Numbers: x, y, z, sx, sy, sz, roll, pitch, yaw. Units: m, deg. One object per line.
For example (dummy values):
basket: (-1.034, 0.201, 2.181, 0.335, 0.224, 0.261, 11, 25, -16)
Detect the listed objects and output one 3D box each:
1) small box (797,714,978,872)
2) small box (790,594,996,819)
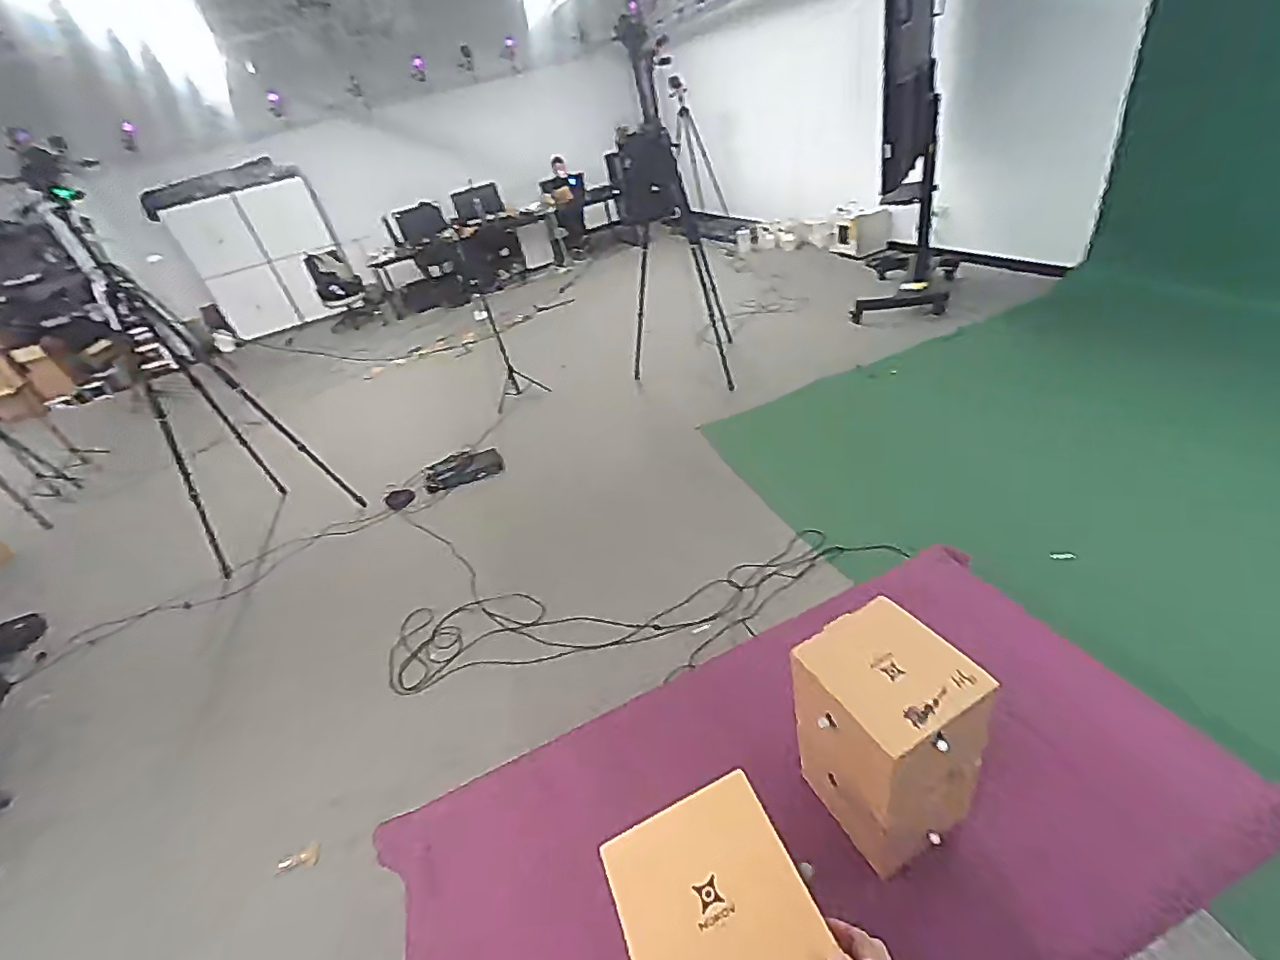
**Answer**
small box: (0.354, 0.424, 0.801, 0.168, 0.176, 0.179, -24, 35, -14)
small box: (0.320, 0.292, 0.710, 0.168, 0.176, 0.179, -25, 34, -15)
